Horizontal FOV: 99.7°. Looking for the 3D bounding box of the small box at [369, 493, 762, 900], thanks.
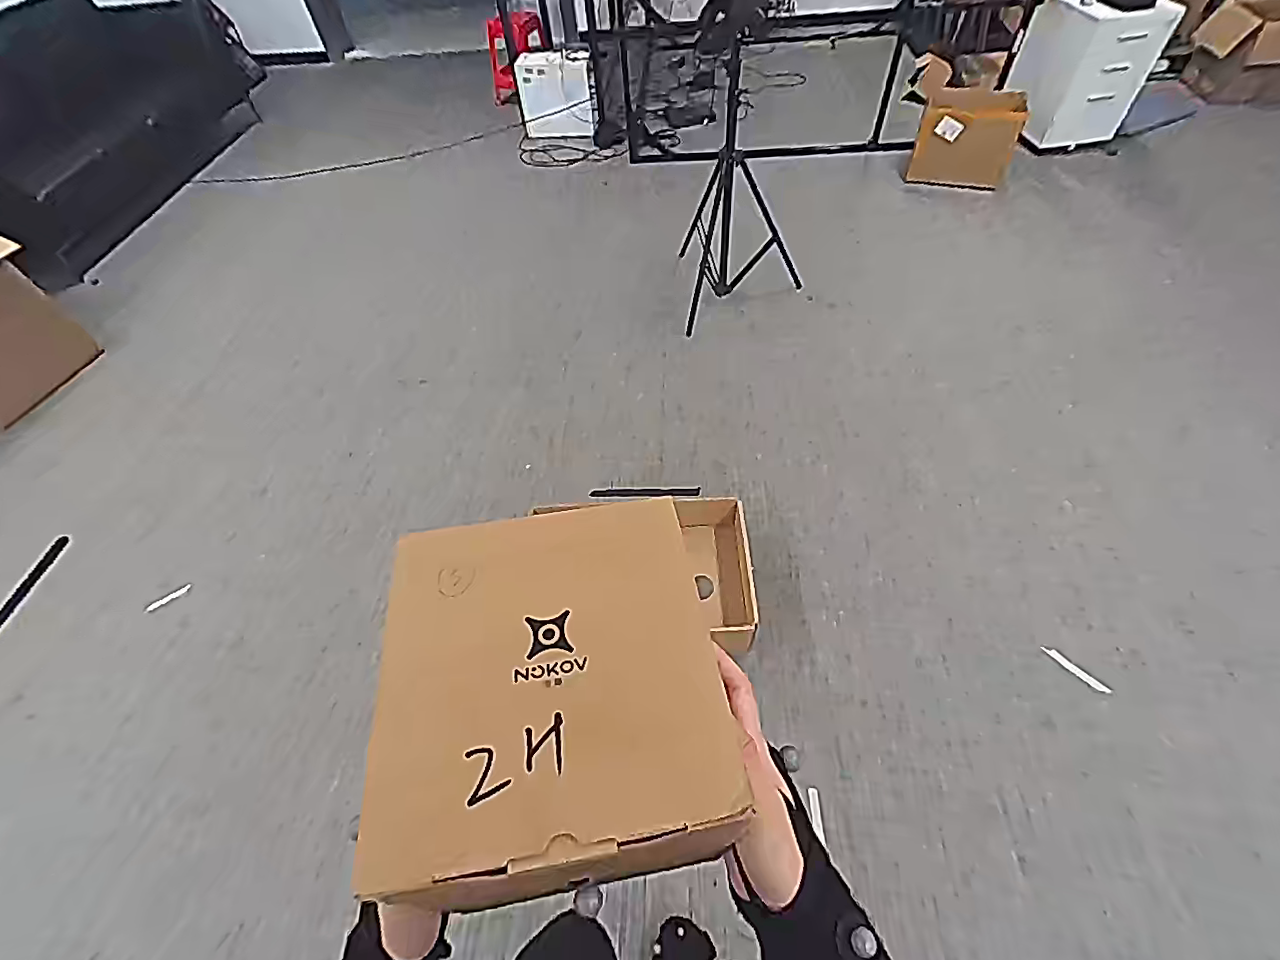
[{"bbox_3d":[-0.041,0.134,0.336,0.168,0.176,0.179,-8,51,-6],"label":"small box"}]
